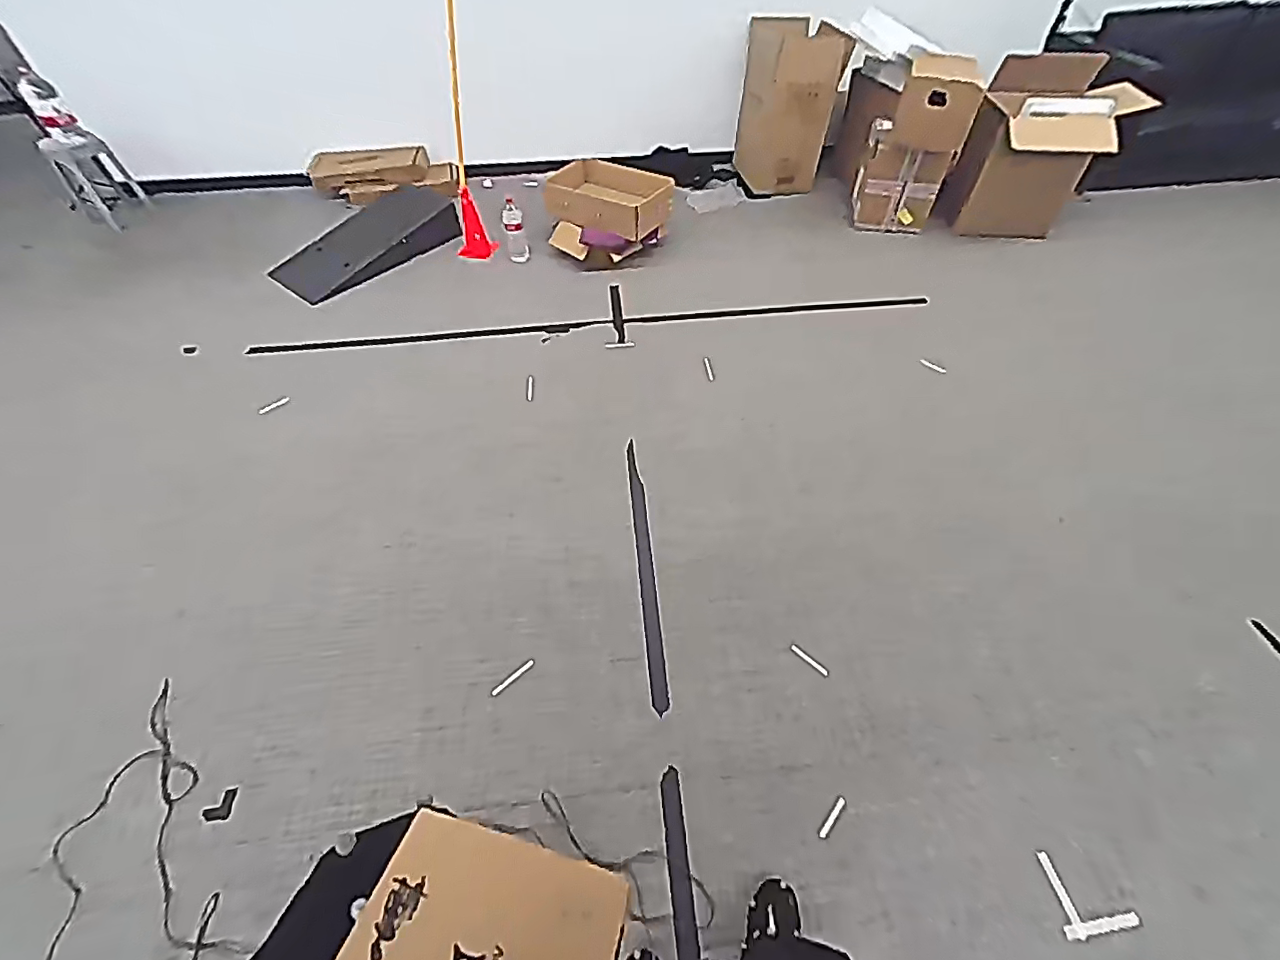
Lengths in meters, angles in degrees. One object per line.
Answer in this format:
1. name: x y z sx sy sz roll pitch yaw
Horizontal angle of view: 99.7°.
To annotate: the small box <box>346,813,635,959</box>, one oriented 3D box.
1. small box: -0.118 0.391 0.393 0.179 0.176 0.168 15 31 5
